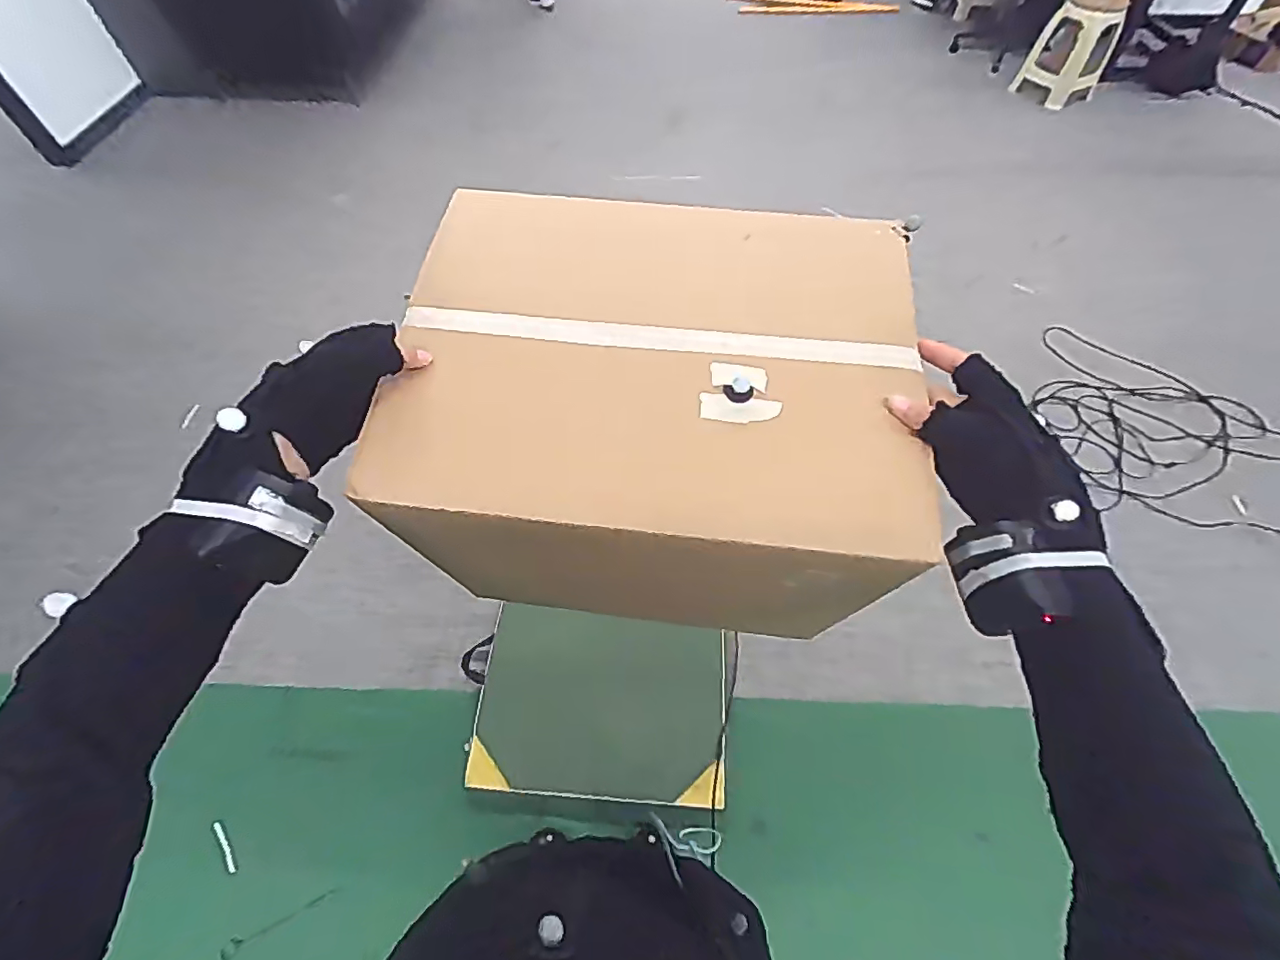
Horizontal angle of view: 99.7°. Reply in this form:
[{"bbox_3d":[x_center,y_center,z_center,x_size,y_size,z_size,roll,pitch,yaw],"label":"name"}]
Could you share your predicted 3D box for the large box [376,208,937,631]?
[{"bbox_3d":[0.020,-0.040,0.573,0.408,0.320,0.320,6,65,3],"label":"large box"}]
